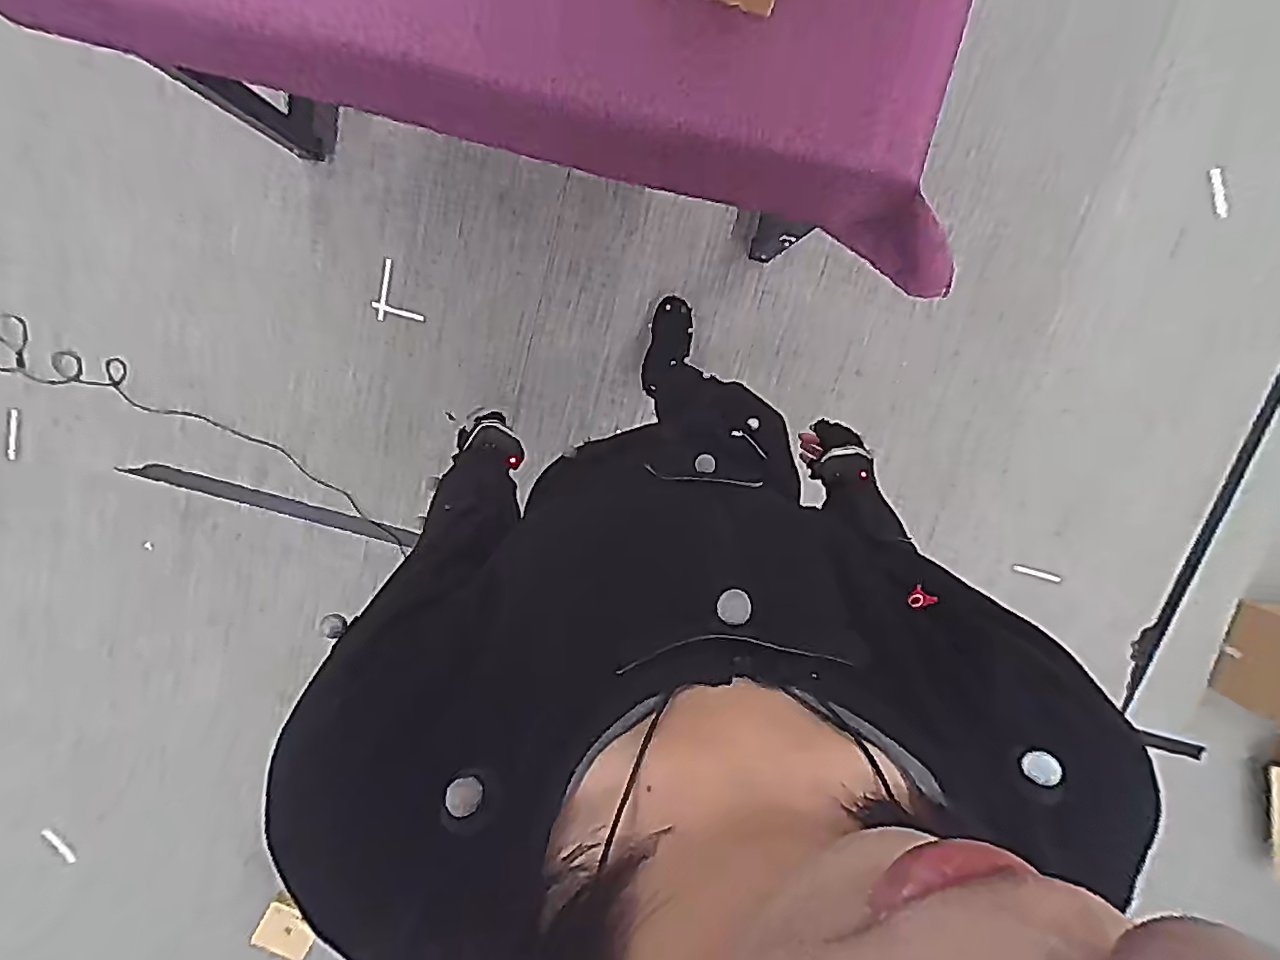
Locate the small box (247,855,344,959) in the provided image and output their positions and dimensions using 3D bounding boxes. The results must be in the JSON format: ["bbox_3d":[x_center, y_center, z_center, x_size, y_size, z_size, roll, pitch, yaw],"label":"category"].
[{"bbox_3d":[-1.059,1.327,1.679,0.168,0.176,0.179,30,100,-7],"label":"small box"}]

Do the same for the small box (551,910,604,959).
[{"bbox_3d":[-0.203,1.538,1.751,0.168,0.176,0.179,4,103,-3],"label":"small box"}]
